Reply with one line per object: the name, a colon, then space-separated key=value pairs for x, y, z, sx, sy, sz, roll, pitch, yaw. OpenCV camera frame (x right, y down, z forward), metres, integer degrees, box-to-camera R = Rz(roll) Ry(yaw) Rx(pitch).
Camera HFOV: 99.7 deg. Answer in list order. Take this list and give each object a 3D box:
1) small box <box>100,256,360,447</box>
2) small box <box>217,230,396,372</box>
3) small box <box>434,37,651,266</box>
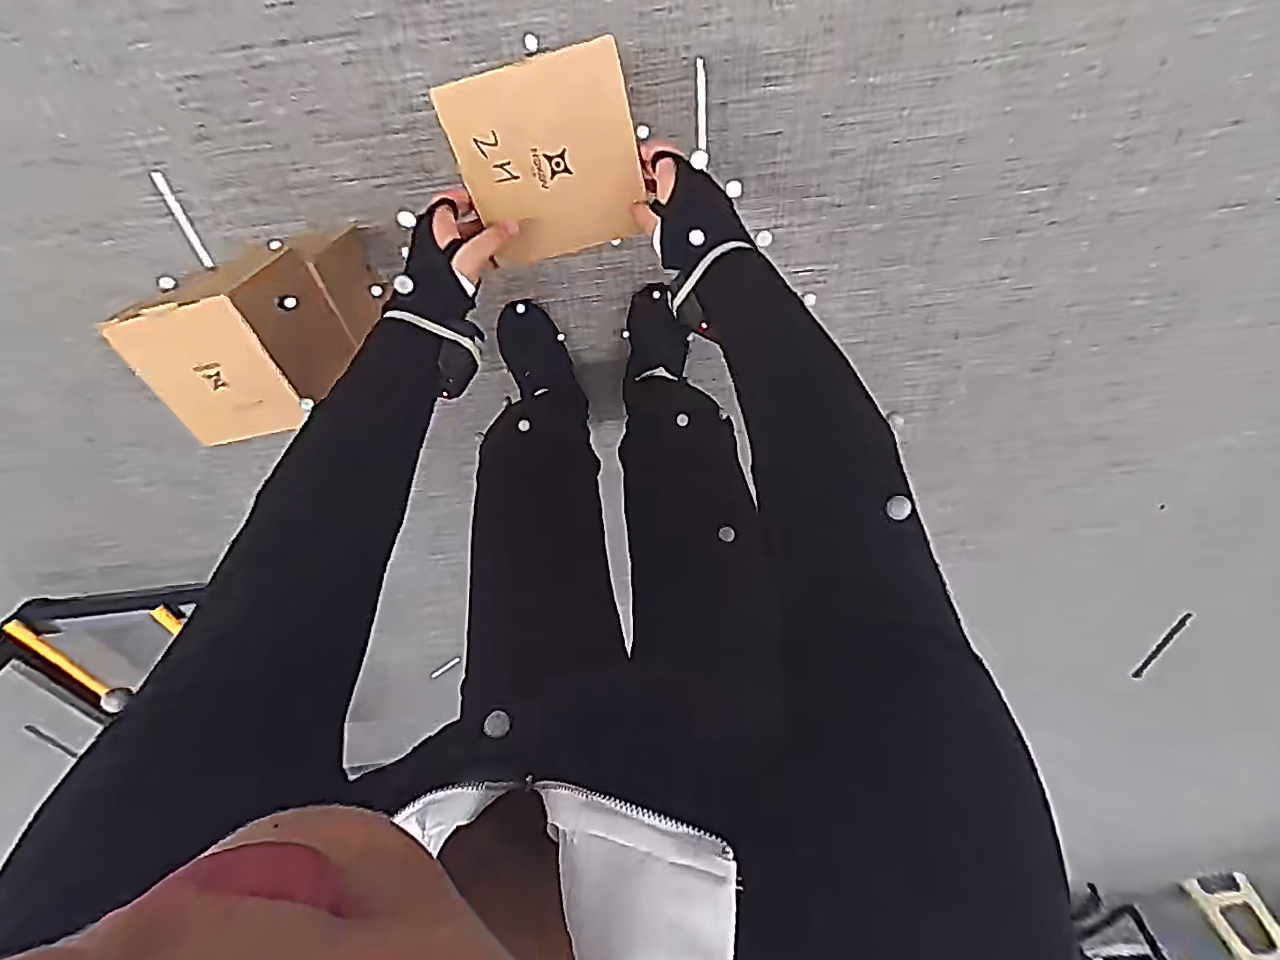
small box: x=-0.508 y=-0.173 z=0.705 sx=0.168 sy=0.176 sz=0.179 roll=-10 pitch=131 yaw=7
small box: x=-0.514 y=-0.269 z=0.838 sx=0.179 sy=0.176 sz=0.168 roll=-9 pitch=130 yaw=3
small box: x=-0.093 y=-0.362 z=0.592 sx=0.179 sy=0.176 sz=0.168 roll=-11 pitch=130 yaw=6
